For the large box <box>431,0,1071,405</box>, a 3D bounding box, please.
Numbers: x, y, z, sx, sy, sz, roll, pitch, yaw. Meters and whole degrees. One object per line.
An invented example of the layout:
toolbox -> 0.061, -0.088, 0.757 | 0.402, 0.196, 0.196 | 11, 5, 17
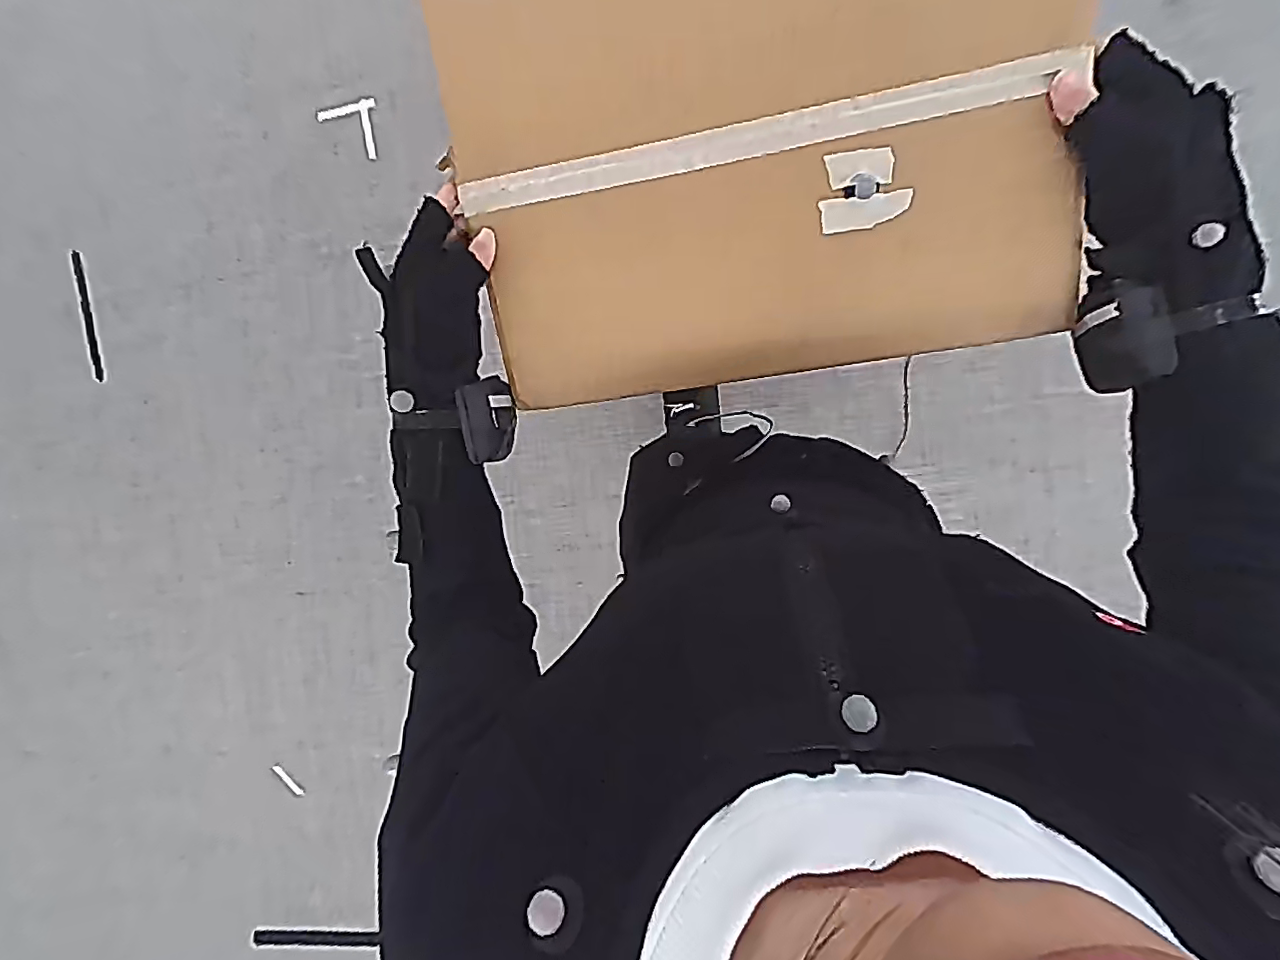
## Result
large box -> 0.088, -0.277, 0.512 | 0.408, 0.320, 0.320 | -8, 107, 8
